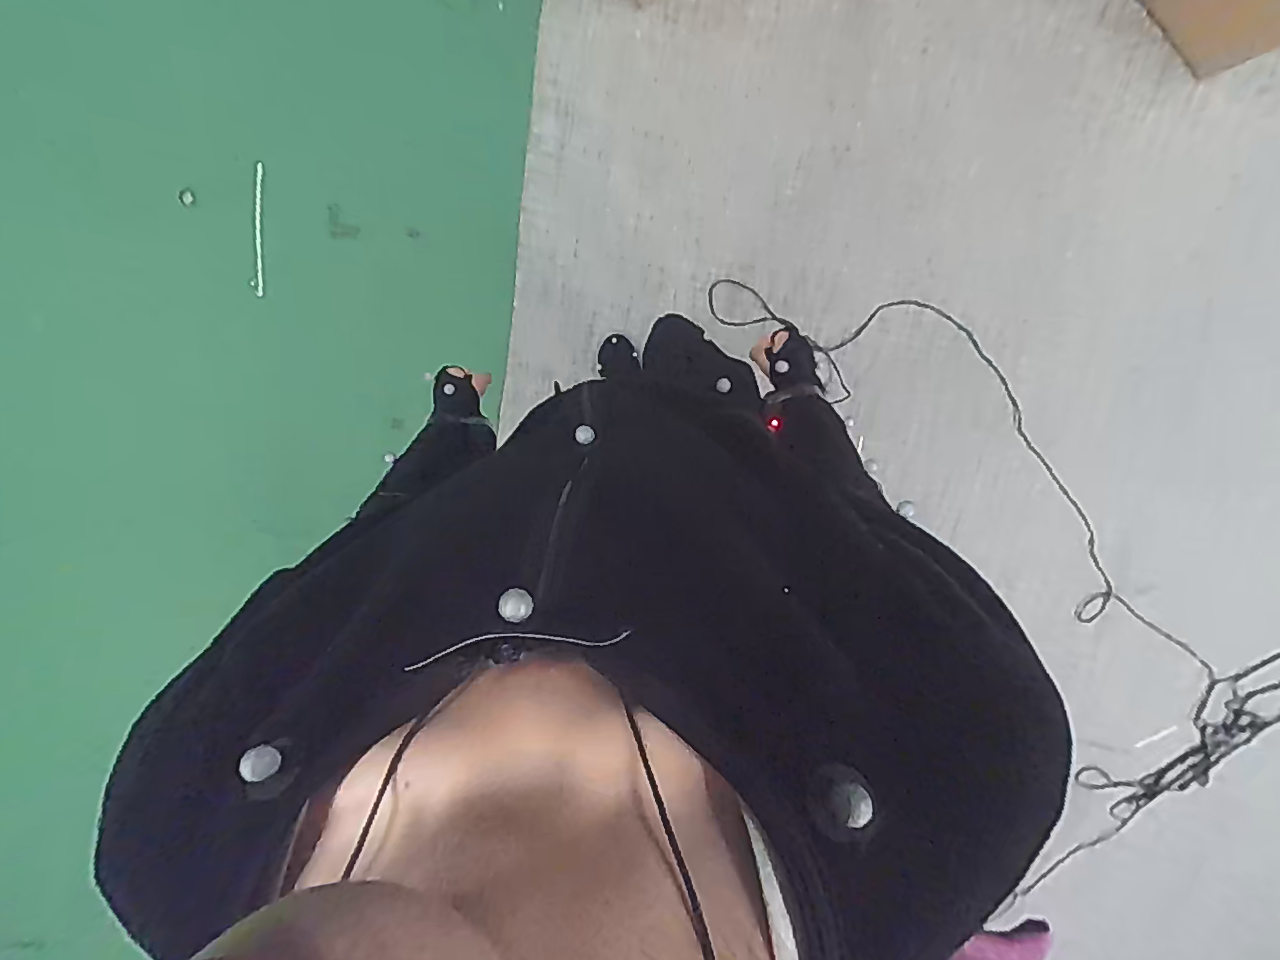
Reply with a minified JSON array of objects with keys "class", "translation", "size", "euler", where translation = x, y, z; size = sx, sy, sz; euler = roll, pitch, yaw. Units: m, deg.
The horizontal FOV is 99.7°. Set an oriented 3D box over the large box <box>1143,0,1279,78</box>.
[{"class":"large box","translation":[1.229,-1.095,1.018],"size":[0.408,0.320,0.320],"euler":[39,104,-11]}]
